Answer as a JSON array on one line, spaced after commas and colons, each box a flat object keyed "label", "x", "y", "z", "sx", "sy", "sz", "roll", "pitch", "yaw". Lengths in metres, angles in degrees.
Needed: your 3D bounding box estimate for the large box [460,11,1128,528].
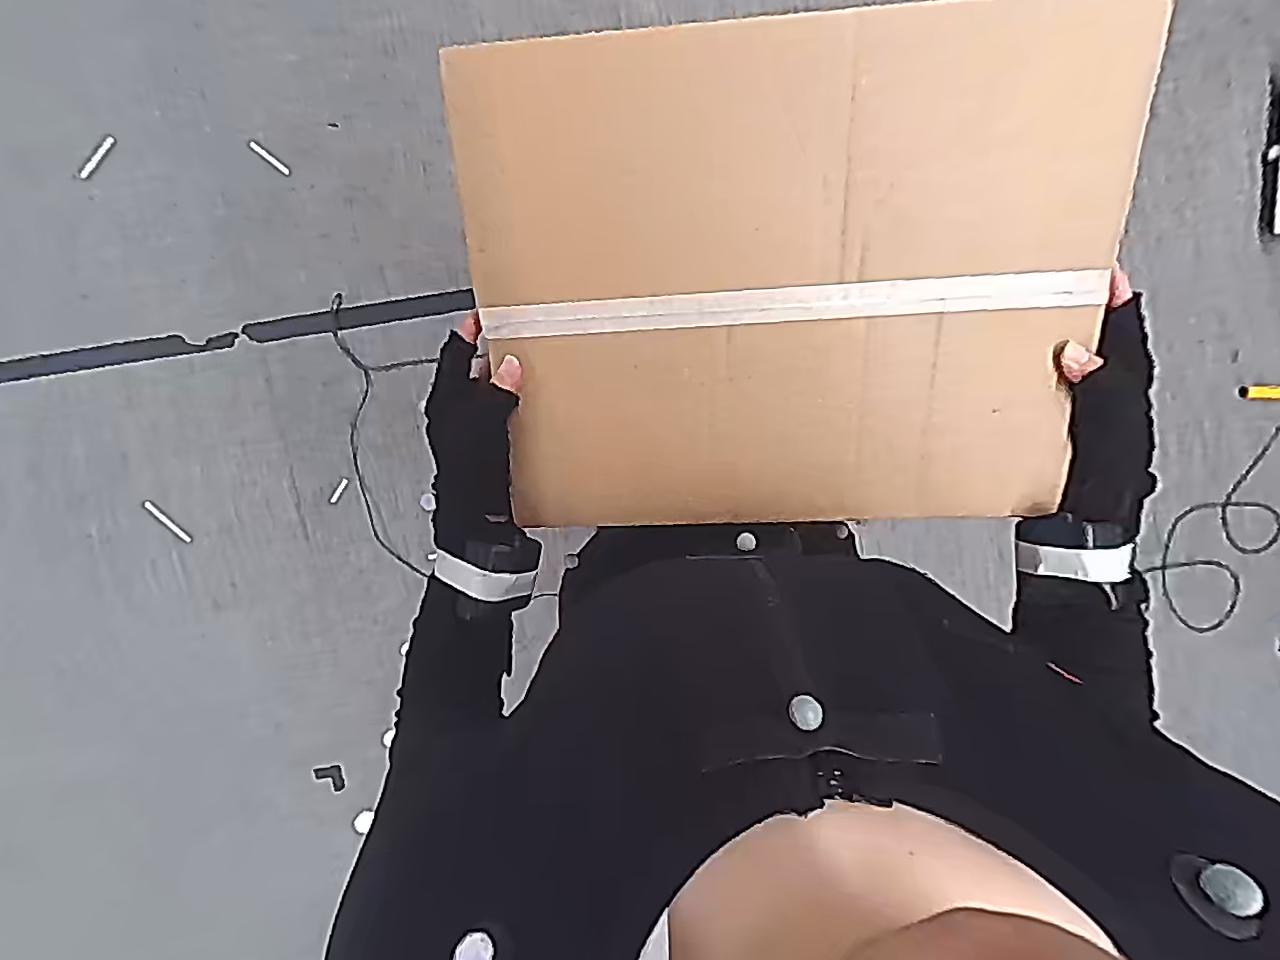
[{"label": "large box", "x": 0.100, "y": -0.165, "z": 0.513, "sx": 0.408, "sy": 0.320, "sz": 0.320, "roll": -2, "pitch": 111, "yaw": 4}]
